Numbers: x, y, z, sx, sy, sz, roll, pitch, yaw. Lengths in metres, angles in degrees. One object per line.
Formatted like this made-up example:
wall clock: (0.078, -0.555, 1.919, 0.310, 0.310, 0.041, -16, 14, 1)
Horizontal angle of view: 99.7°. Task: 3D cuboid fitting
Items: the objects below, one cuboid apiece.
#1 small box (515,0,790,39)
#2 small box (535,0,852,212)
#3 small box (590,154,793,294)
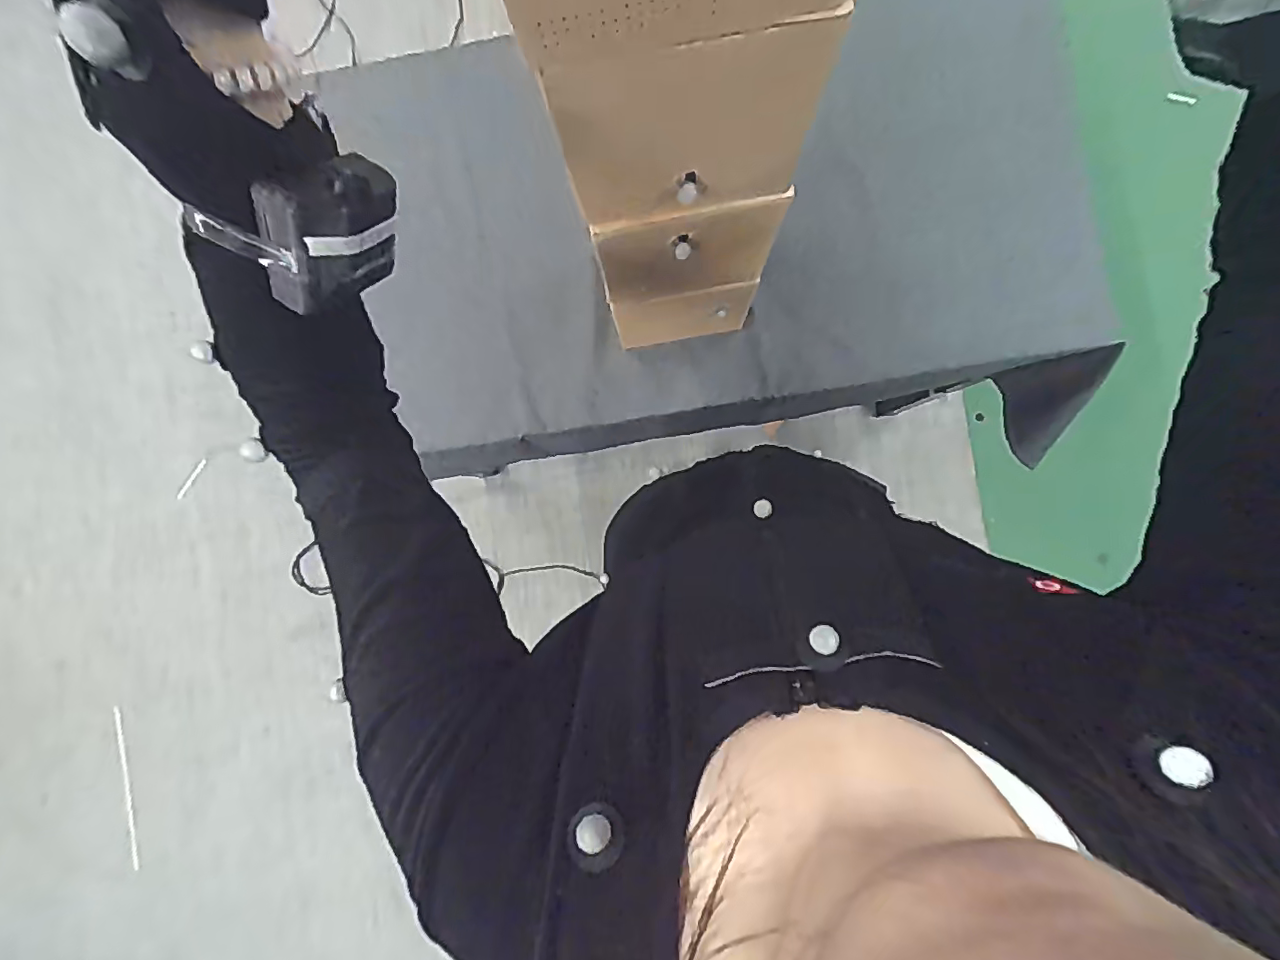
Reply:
small box: (0.007, -0.326, 0.214, 0.179, 0.176, 0.168, -9, 88, 3)
small box: (0.023, -0.317, 0.377, 0.179, 0.176, 0.168, -7, 86, 2)
small box: (0.037, -0.305, 0.540, 0.179, 0.176, 0.168, -9, 88, 3)
